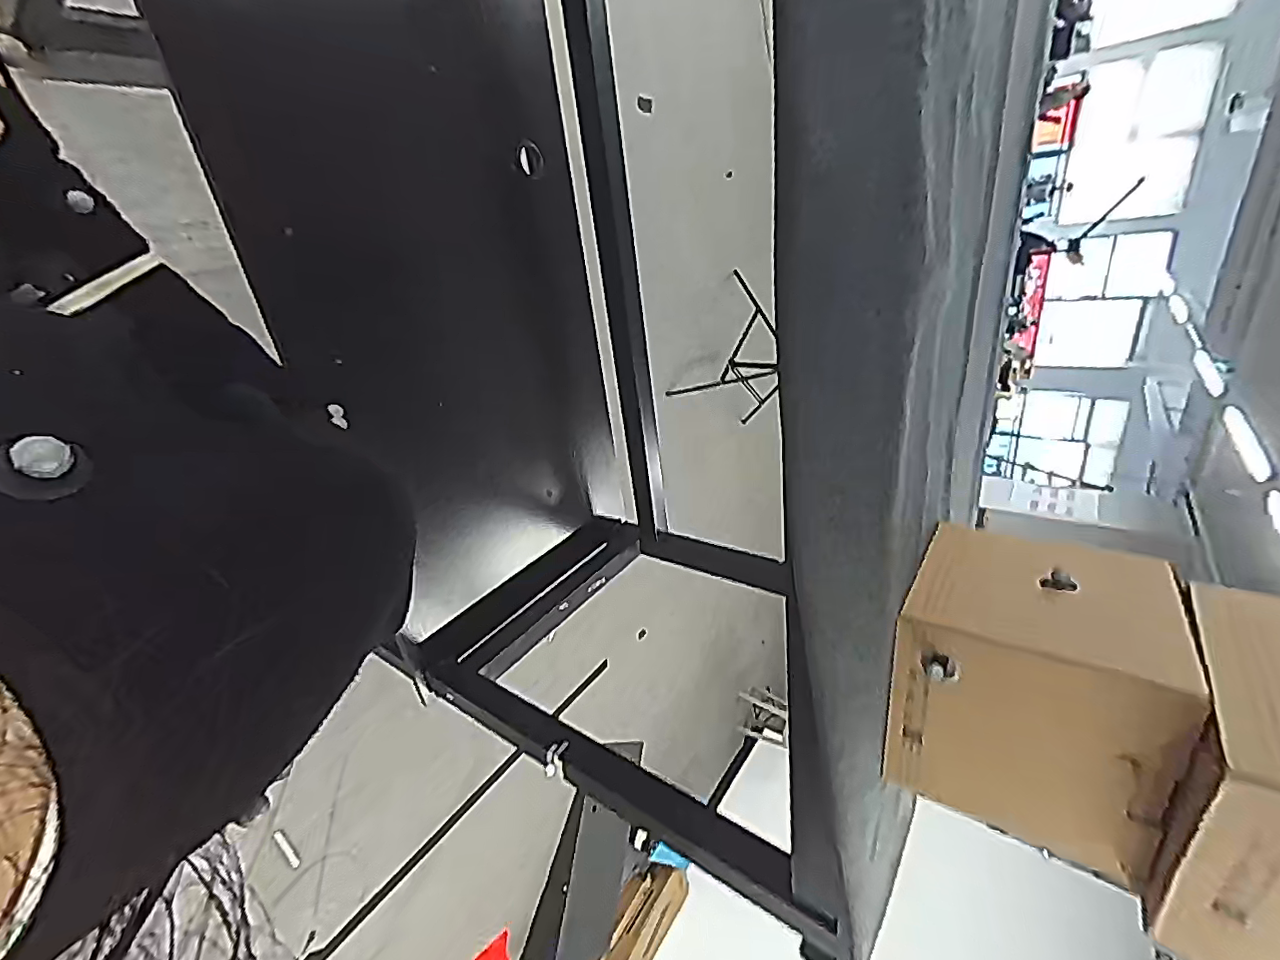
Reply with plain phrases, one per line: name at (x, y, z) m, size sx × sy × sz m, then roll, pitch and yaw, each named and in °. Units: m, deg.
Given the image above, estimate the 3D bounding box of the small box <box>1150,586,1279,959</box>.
small box at (0.429, 0.192, 0.324) m, size 0.179 × 0.176 × 0.168 m, roll -38°, pitch 129°, yaw -44°

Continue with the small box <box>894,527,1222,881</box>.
small box at (0.317, 0.155, 0.440) m, size 0.179 × 0.176 × 0.168 m, roll -31°, pitch 123°, yaw -48°
